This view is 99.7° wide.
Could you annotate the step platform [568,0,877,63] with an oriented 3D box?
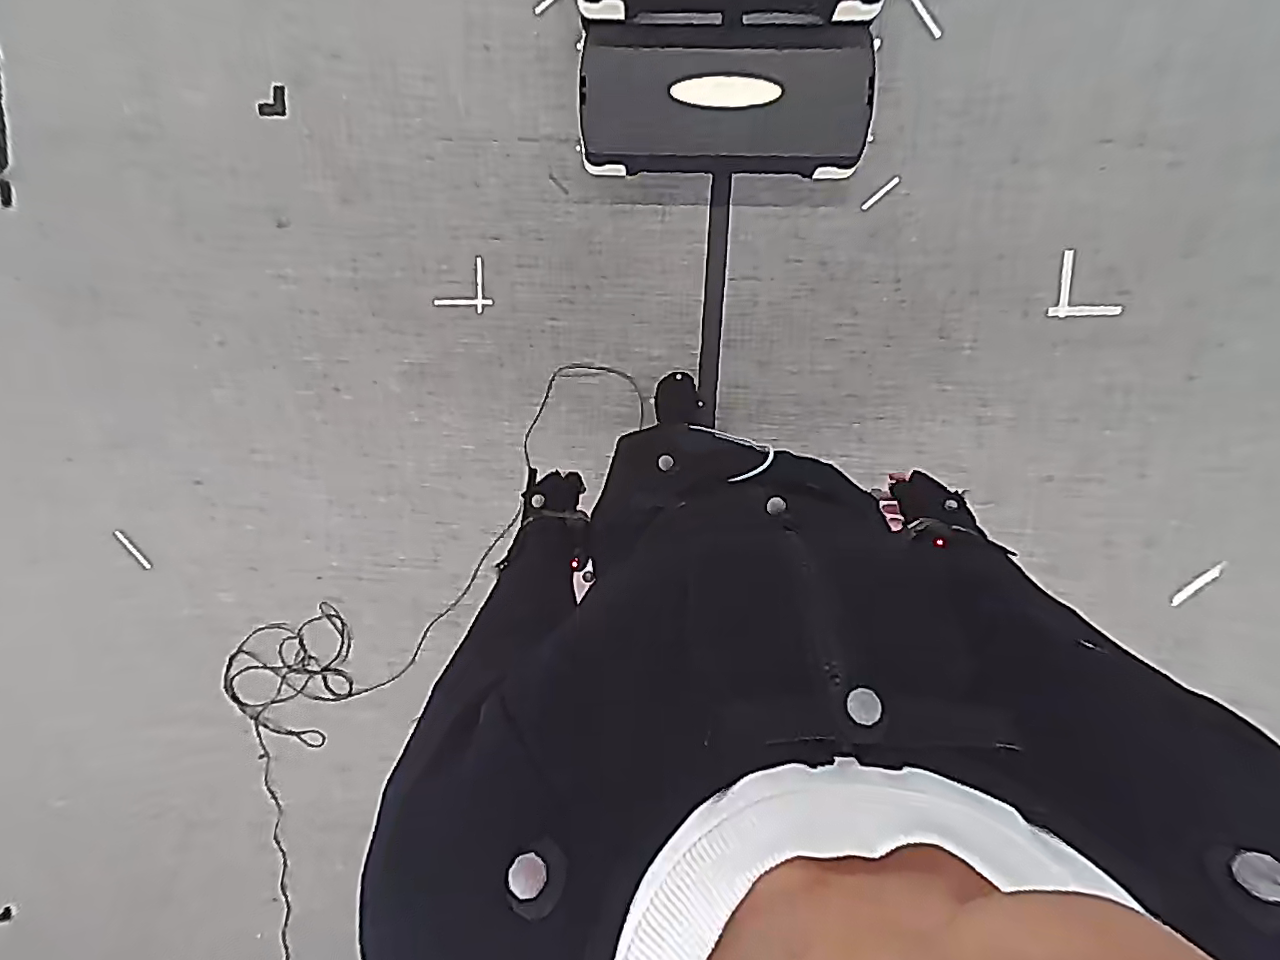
[{"bbox_3d":[0.179,-1.125,1.176,0.684,0.204,0.286,1,99,2],"label":"step platform"}]
